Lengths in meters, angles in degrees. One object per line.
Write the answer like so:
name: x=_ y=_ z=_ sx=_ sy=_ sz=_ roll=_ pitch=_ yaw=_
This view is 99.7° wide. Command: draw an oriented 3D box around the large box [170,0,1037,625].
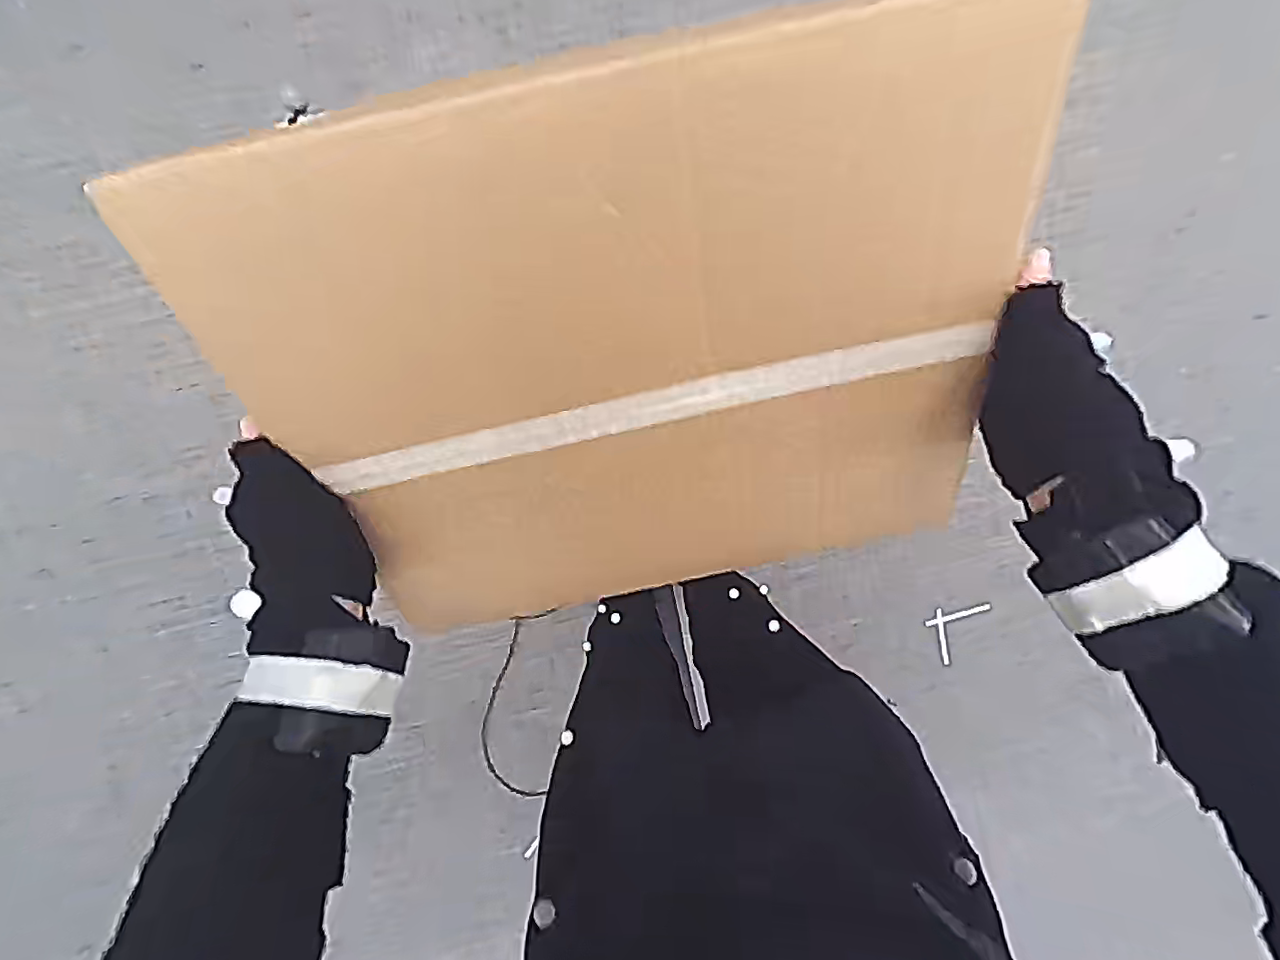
large box: x=-0.013 y=-0.135 z=0.444 sx=0.408 sy=0.320 sz=0.320 roll=-12 pitch=128 yaw=0
